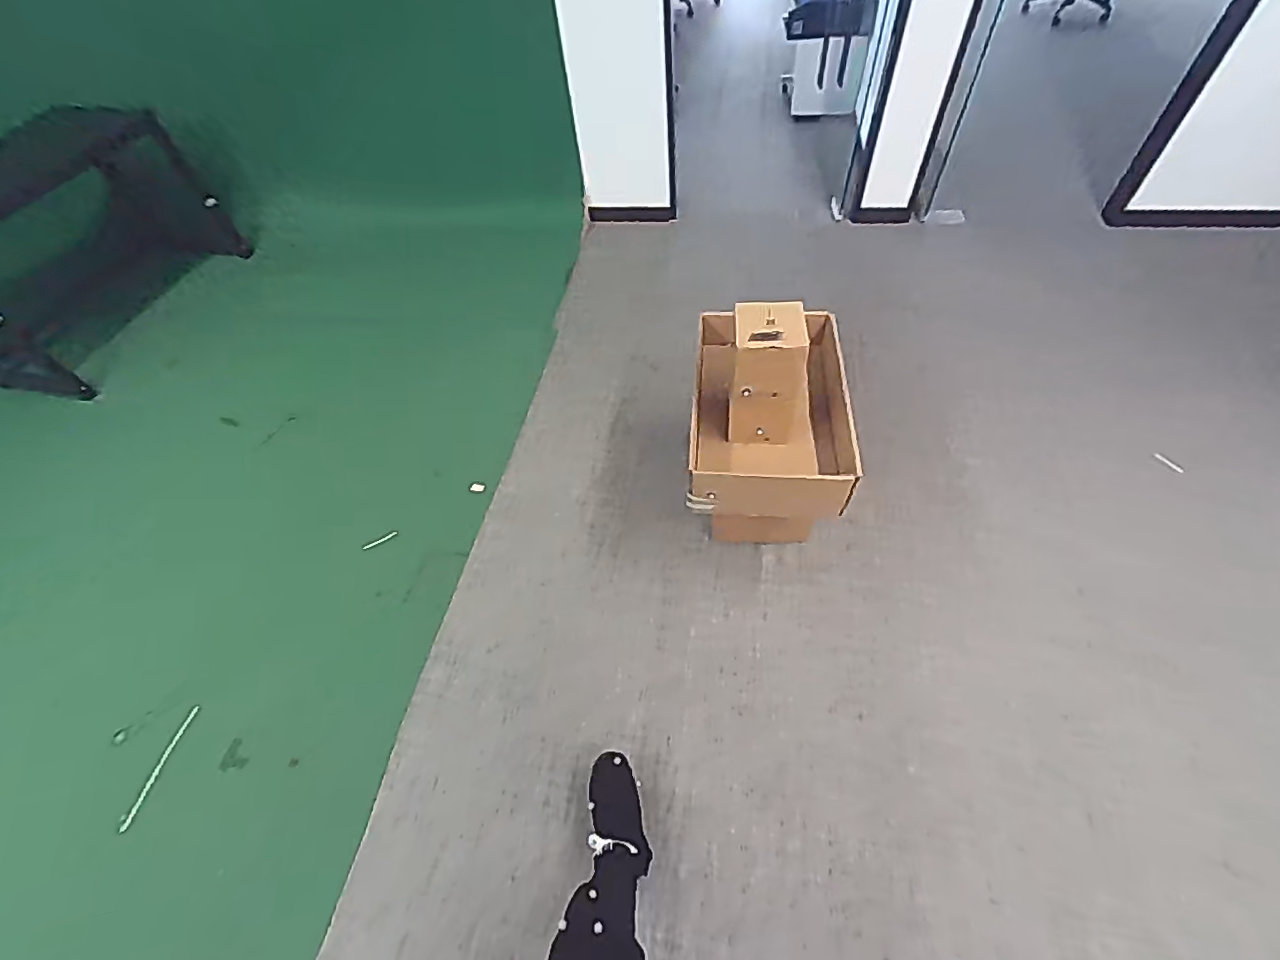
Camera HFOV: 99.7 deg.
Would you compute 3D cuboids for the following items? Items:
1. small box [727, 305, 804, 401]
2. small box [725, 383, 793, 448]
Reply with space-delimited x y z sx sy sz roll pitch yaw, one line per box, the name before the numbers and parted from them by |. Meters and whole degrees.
small box | 0.305 -0.310 1.339 0.168 0.176 0.179 1 52 6
small box | 0.317 -0.210 1.469 0.168 0.176 0.179 2 53 8
